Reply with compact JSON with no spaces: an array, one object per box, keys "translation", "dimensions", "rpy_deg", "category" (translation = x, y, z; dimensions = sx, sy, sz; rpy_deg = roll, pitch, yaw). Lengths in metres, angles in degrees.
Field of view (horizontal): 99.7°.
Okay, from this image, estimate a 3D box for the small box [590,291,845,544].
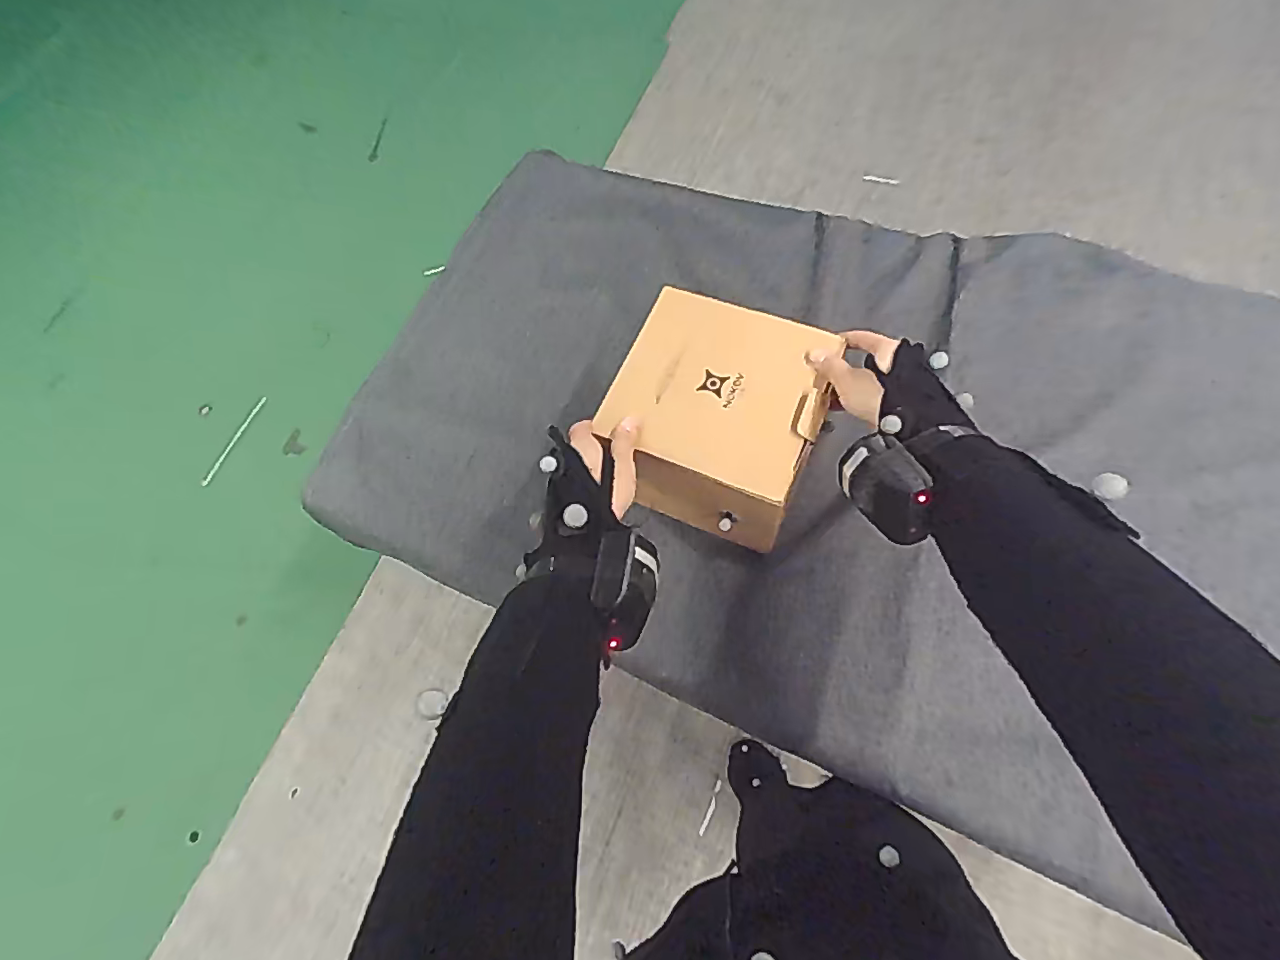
[{"translation":[0.078,-0.051,0.538],"dimensions":[0.179,0.176,0.168],"rpy_deg":[21,72,17],"category":"small box"}]
